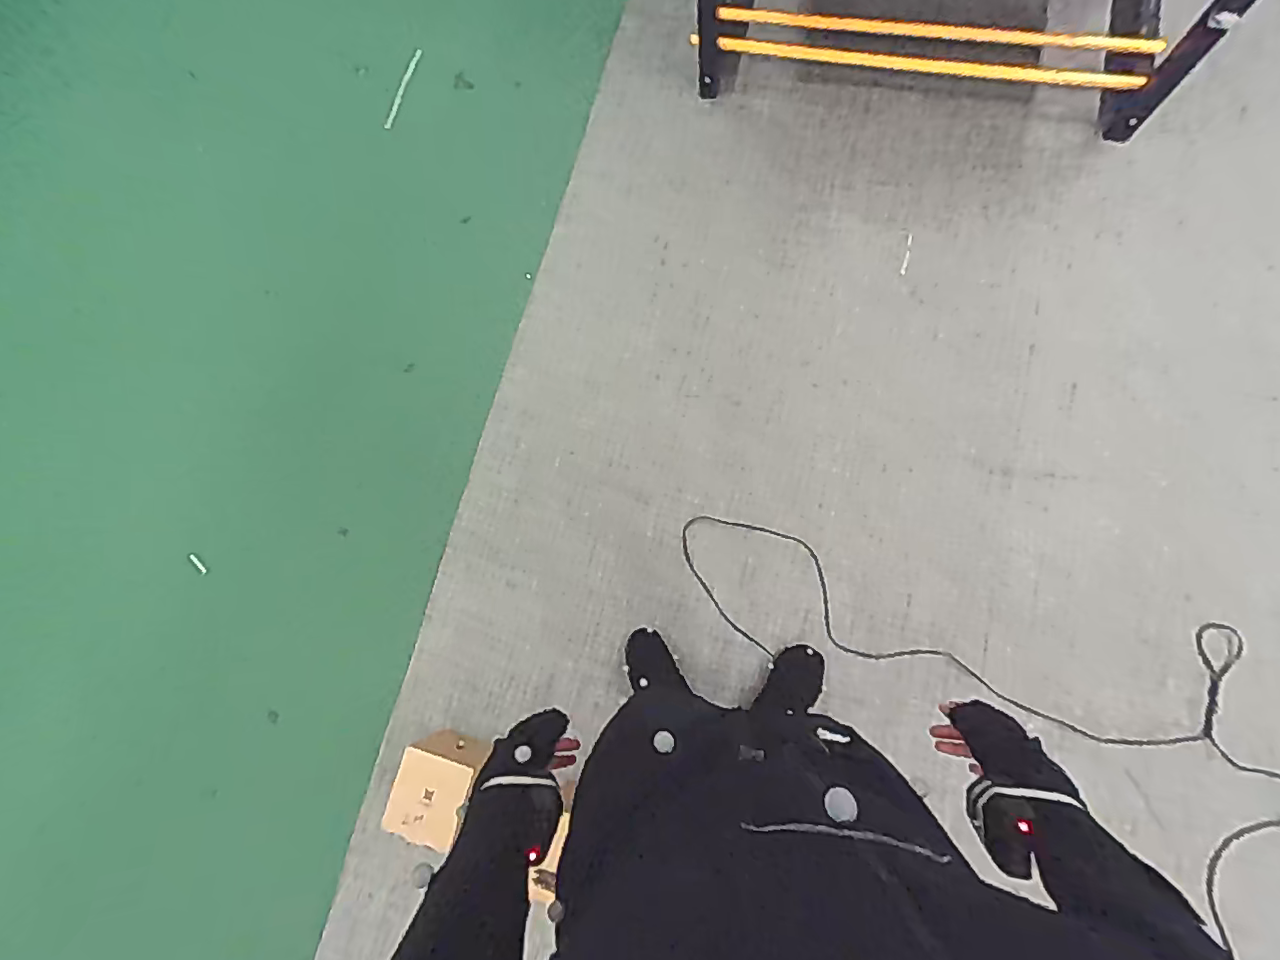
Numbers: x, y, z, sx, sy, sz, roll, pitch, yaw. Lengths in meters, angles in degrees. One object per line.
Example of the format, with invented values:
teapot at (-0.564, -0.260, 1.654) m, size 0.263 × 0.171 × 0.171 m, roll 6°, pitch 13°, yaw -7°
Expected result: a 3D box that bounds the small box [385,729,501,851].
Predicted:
small box at (-0.437, 0.692, 1.233) m, size 0.168 × 0.176 × 0.179 m, roll 14°, pitch 79°, yaw 10°
